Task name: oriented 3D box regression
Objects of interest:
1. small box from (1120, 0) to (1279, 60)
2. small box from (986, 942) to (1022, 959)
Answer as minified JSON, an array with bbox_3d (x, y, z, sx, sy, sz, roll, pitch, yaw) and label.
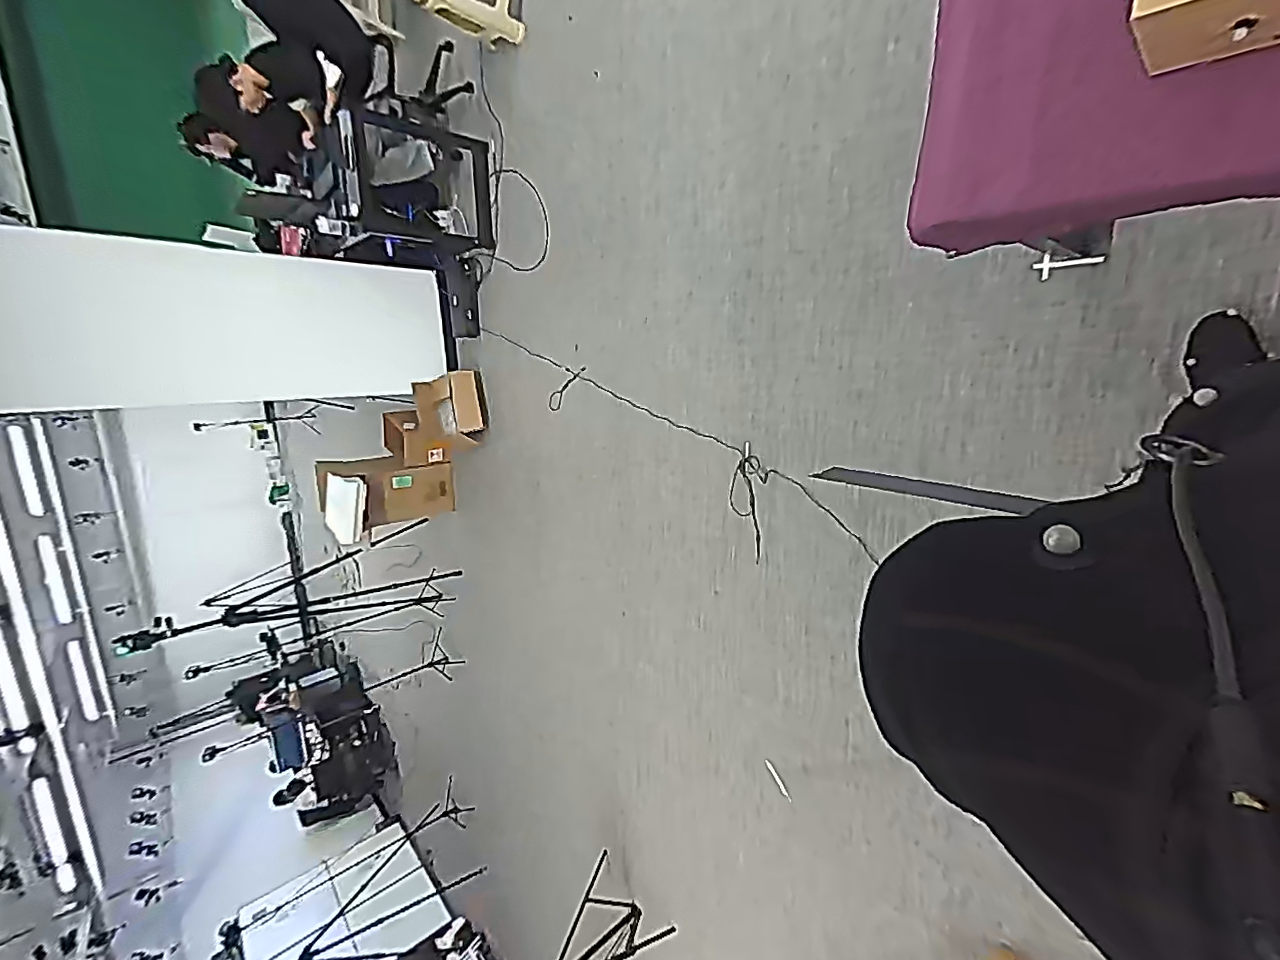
[{"bbox_3d":[0.584,-0.527,0.500,0.168,0.176,0.179,17,112,45],"label":"small box"},{"bbox_3d":[1.085,1.520,1.575,0.168,0.176,0.179,18,114,46],"label":"small box"}]
